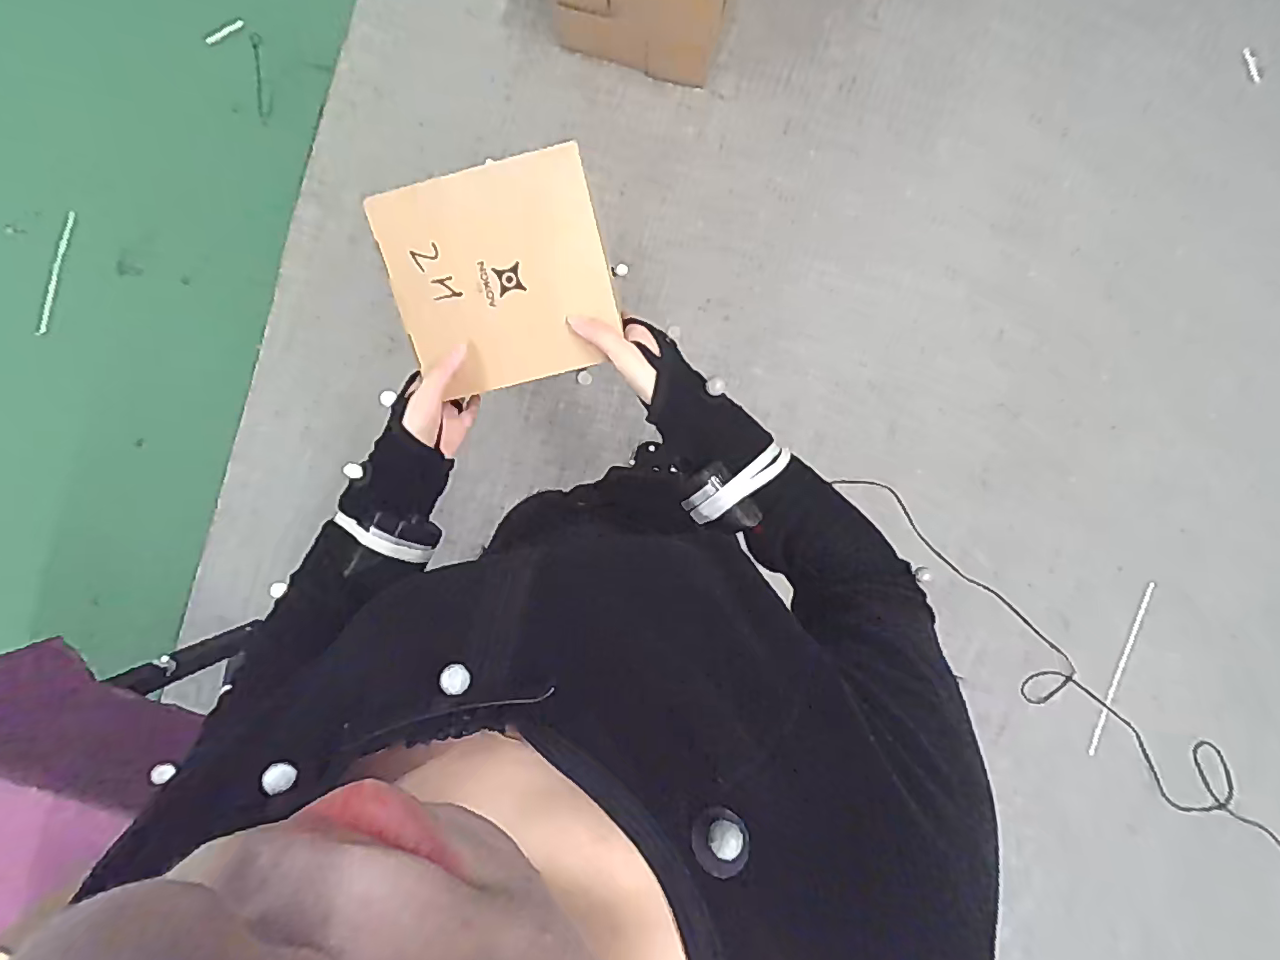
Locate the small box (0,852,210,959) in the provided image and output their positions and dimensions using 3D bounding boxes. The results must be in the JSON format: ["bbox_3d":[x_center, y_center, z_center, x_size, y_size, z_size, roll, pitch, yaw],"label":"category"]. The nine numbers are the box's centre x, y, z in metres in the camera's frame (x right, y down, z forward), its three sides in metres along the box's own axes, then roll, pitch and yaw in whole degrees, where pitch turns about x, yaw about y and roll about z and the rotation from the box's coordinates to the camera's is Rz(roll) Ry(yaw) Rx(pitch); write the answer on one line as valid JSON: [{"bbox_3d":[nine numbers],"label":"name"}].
[{"bbox_3d":[-0.758,0.669,0.753,0.179,0.176,0.168,17,93,3],"label":"small box"}]

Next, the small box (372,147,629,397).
[{"bbox_3d":[-0.110,-0.185,0.515,0.179,0.176,0.168,-11,105,4],"label":"small box"}]
